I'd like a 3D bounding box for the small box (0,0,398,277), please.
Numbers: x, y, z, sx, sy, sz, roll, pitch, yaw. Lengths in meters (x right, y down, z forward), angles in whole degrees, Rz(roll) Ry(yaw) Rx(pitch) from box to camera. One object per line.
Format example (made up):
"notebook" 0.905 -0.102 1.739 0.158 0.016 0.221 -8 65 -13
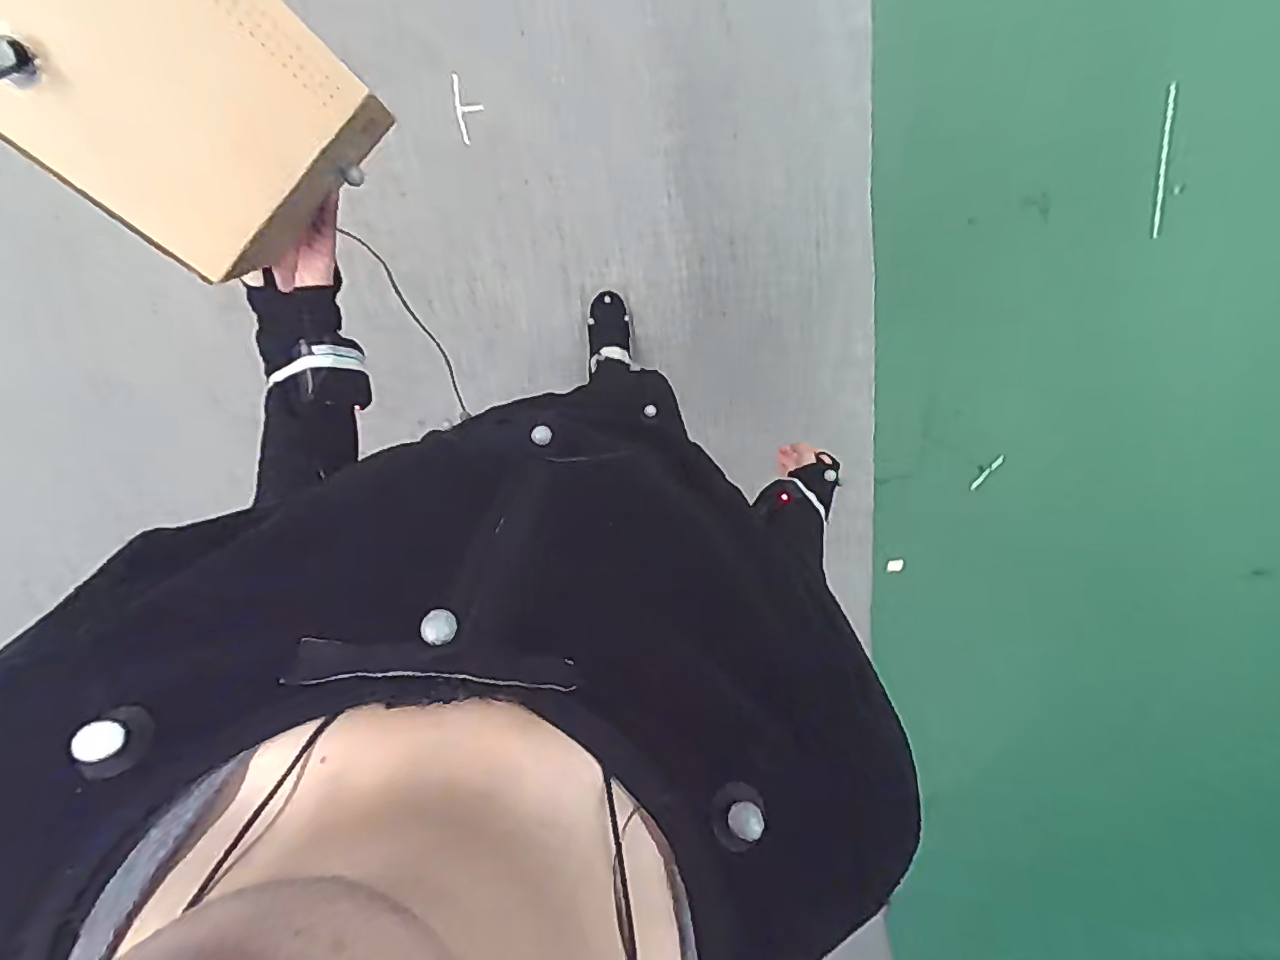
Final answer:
"small box" -0.301 -0.277 0.372 0.176 0.168 0.179 -45 121 10
